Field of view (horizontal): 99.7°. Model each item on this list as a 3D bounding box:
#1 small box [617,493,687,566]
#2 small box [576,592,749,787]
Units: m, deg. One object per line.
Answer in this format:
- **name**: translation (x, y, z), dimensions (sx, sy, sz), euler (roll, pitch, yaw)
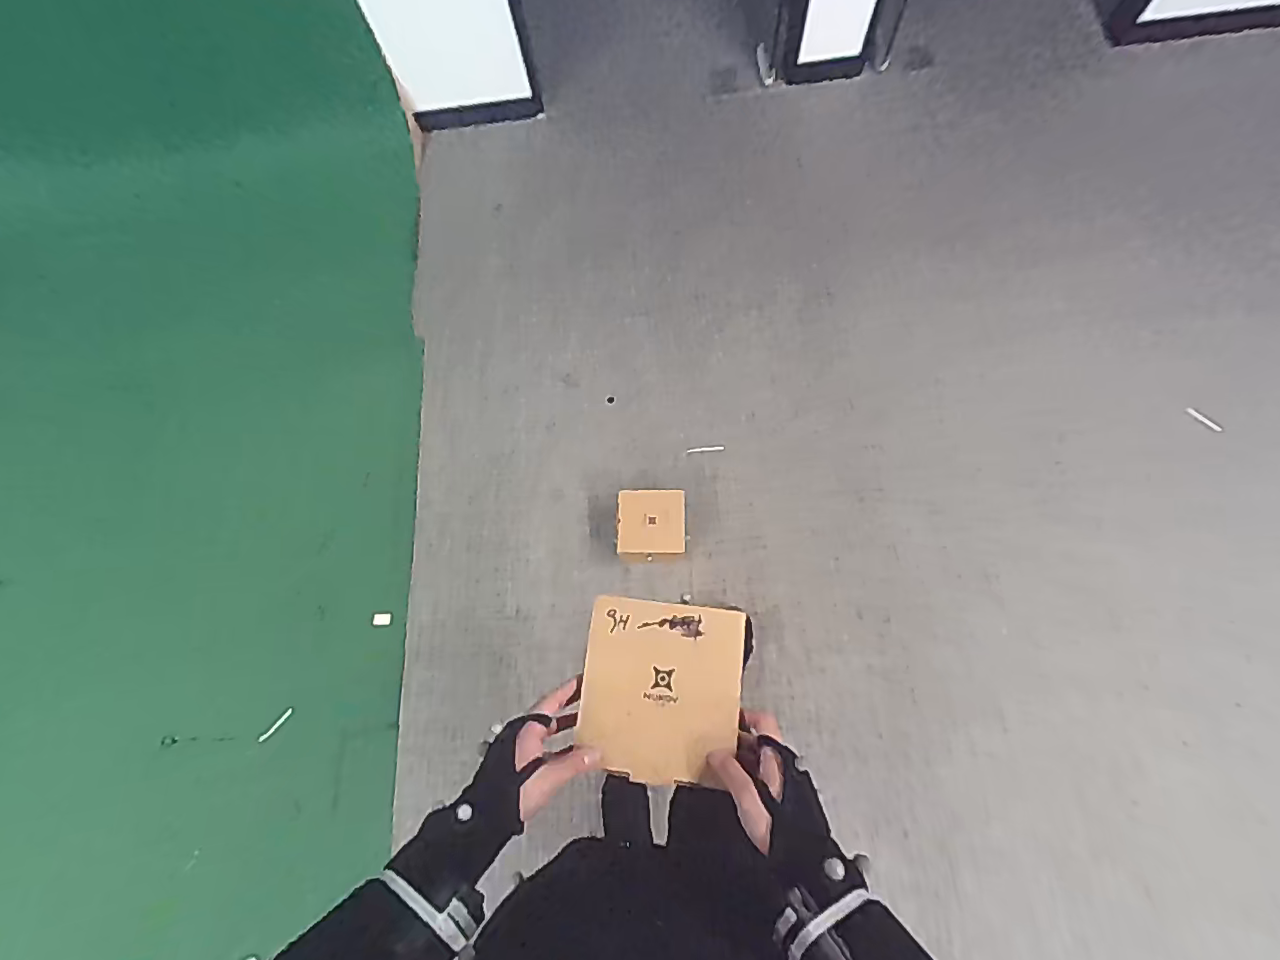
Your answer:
- **small box**: translation (0.037, 0.138, 1.464), dimensions (0.179, 0.176, 0.168), euler (0, 73, 4)
- **small box**: translation (0.029, 0.233, 0.644), dimensions (0.168, 0.176, 0.179), euler (7, 77, 4)
